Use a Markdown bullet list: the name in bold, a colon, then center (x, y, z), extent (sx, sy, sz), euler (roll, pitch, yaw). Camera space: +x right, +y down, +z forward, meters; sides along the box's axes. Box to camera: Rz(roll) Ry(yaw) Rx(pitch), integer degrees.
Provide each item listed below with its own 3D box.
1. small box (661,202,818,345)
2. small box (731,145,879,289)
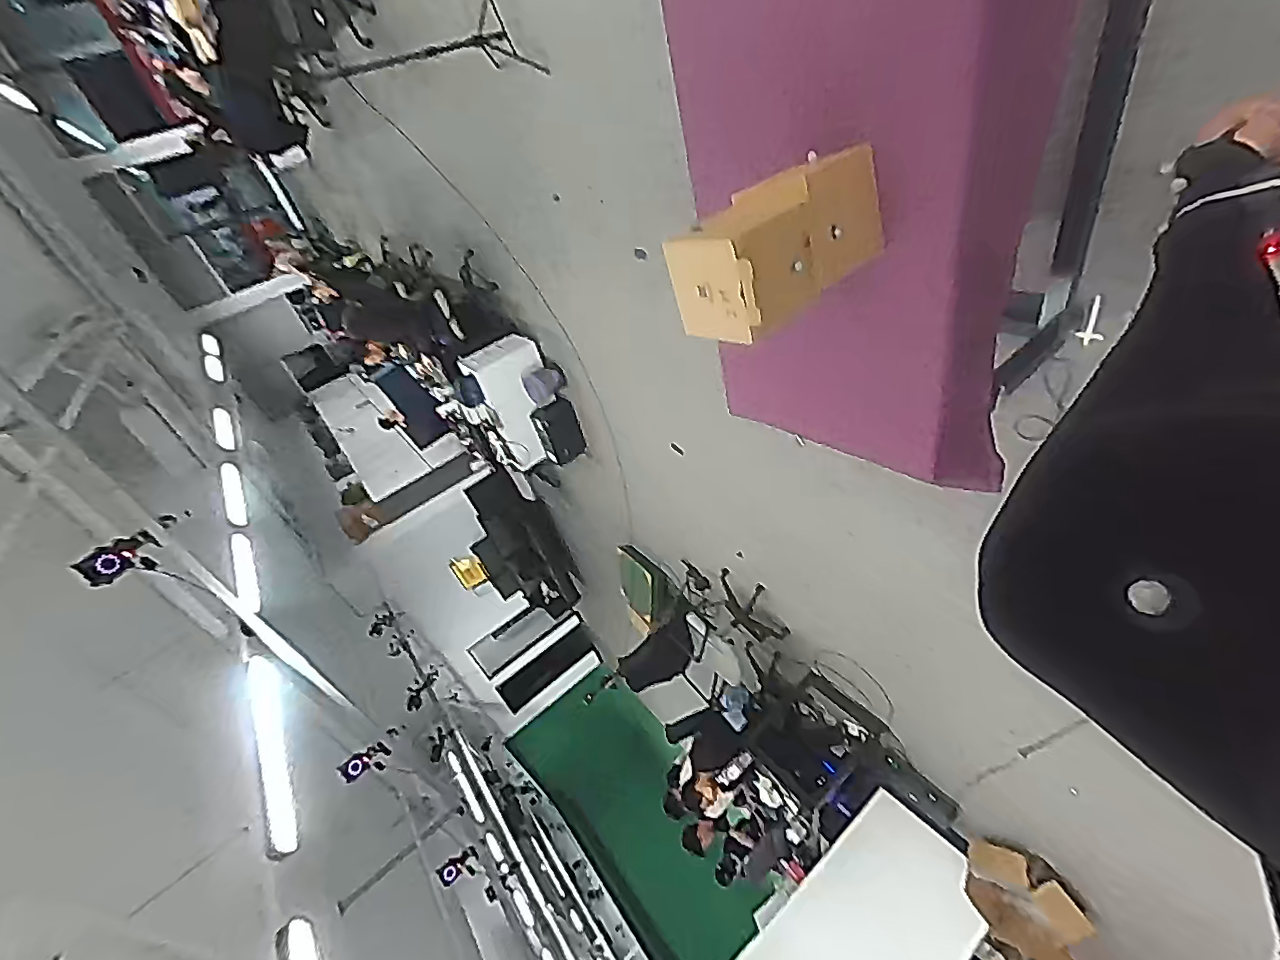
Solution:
- **small box**: center (0.168, -0.345, 0.901), extent (0.179, 0.176, 0.168), euler (28, 146, 50)
- **small box**: center (0.293, -0.447, 0.943), extent (0.168, 0.176, 0.179), euler (22, 141, 54)
